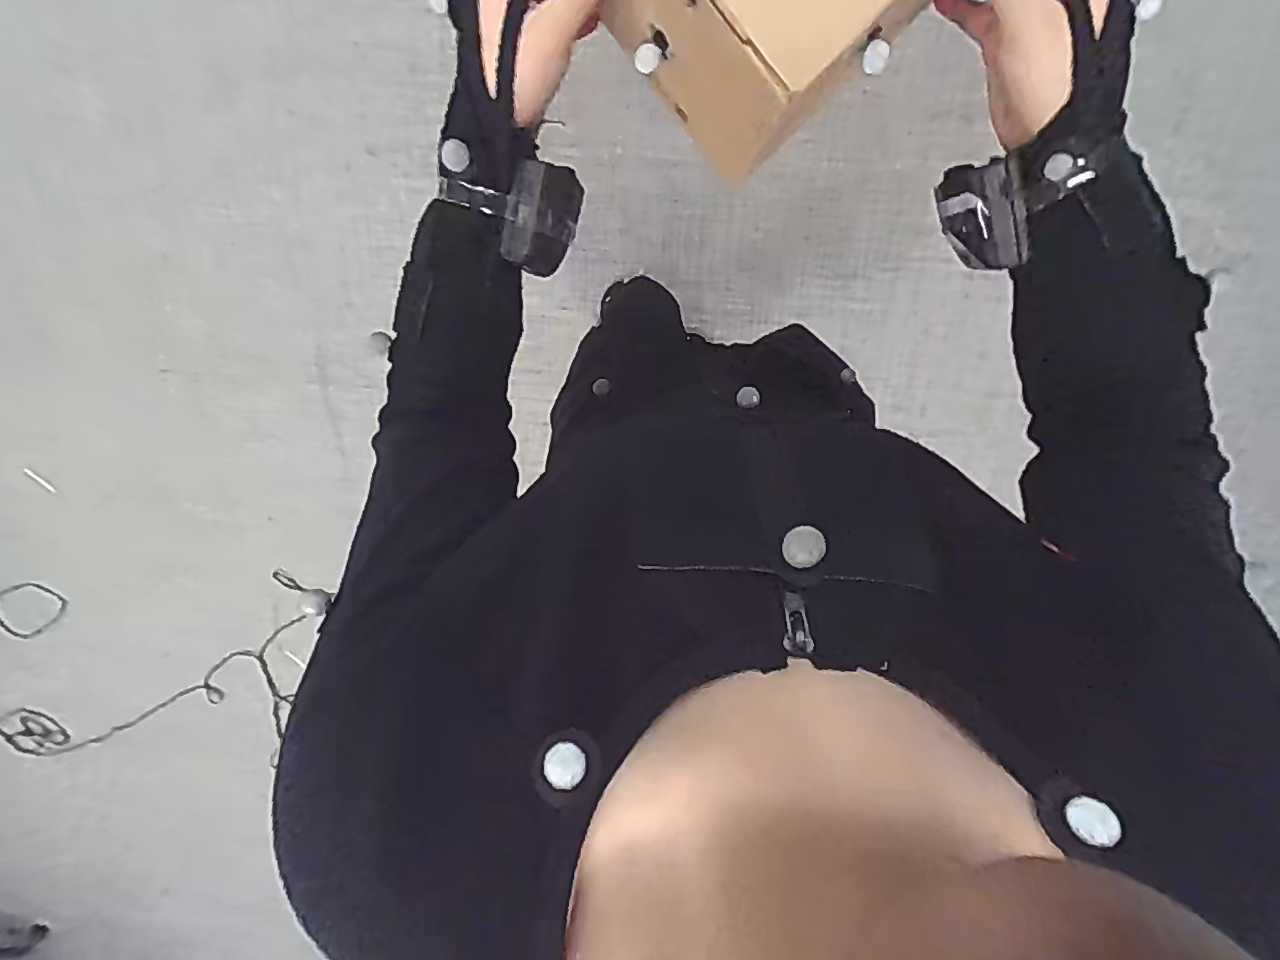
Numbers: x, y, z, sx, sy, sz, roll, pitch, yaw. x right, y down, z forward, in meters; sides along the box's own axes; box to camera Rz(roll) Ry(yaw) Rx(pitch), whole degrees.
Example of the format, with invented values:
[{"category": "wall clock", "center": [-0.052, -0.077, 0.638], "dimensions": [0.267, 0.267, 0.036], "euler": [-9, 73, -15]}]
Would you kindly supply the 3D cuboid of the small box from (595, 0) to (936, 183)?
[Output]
[{"category": "small box", "center": [0.073, -0.297, 0.286], "dimensions": [0.179, 0.176, 0.168], "euler": [-41, 100, 13]}]
